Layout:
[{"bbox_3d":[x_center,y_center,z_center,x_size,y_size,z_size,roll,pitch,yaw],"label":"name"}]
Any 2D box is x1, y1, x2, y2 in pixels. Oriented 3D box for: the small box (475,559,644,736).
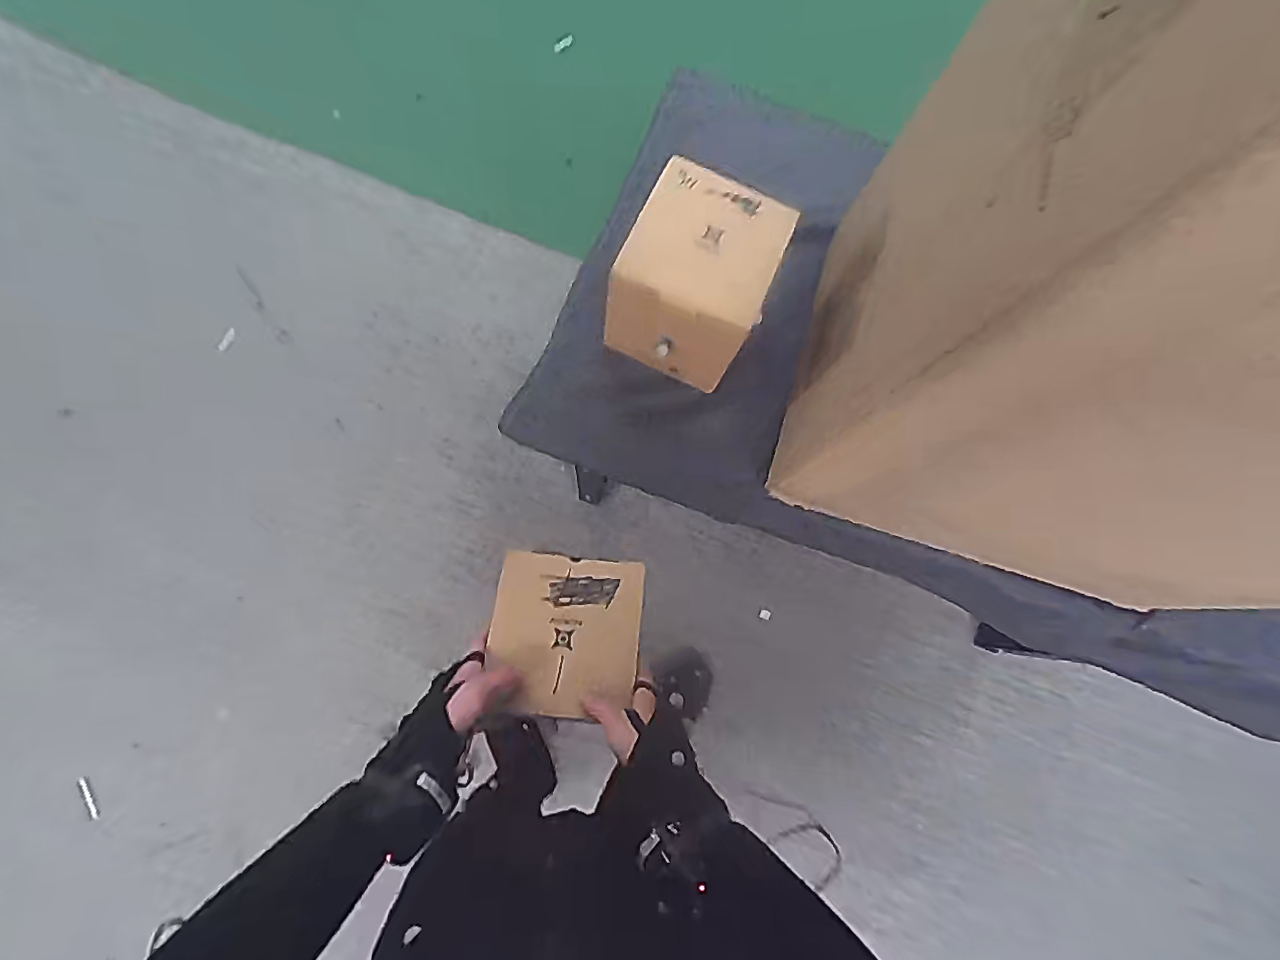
[{"bbox_3d":[-0.091,0.215,0.677,0.168,0.176,0.179,7,65,-1],"label":"small box"}]
